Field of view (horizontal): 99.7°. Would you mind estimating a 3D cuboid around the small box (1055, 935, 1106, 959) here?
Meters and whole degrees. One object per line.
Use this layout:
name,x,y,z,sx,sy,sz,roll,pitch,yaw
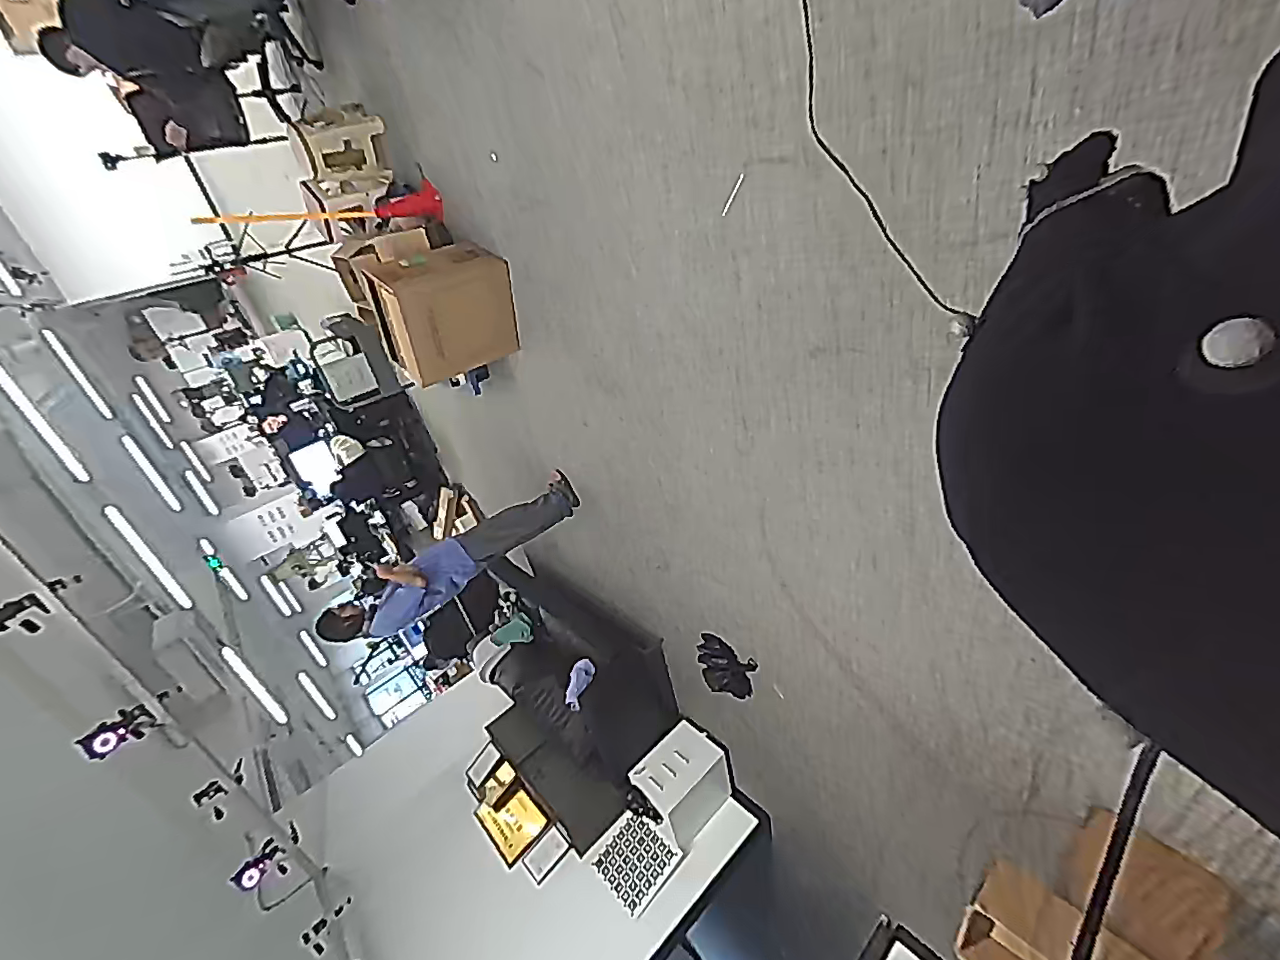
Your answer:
small box,1.247,1.430,1.504,0.168,0.176,0.179,22,137,47
